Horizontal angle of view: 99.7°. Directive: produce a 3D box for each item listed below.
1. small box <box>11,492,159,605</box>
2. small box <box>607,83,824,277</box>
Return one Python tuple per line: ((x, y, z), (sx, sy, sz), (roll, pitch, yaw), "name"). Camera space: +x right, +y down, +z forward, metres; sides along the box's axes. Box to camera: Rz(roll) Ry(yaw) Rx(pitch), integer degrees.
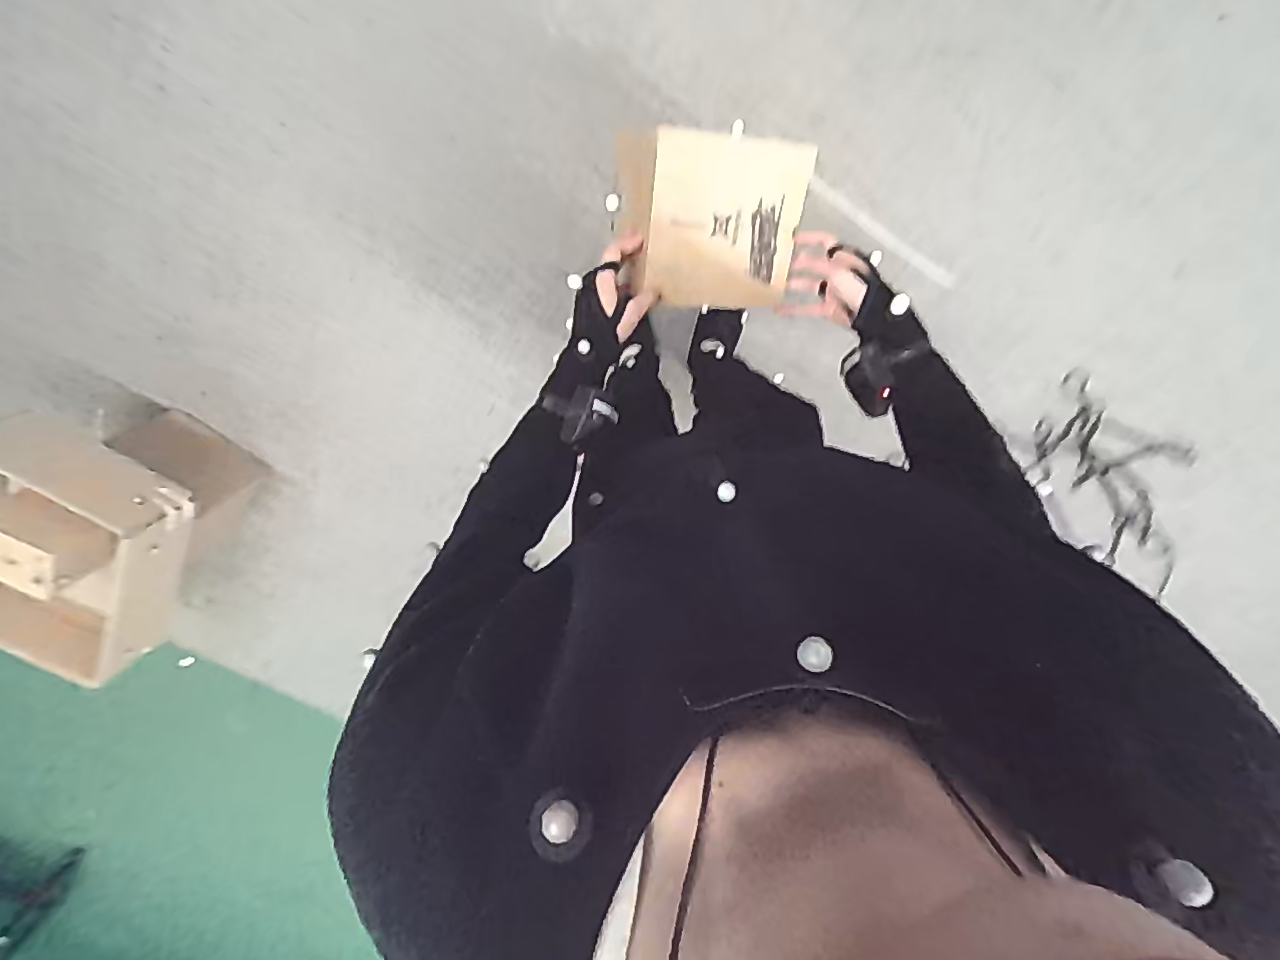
((-1.298, 0.153, 1.274), (0.179, 0.176, 0.168), (29, 122, -11), "small box")
((0.068, -0.330, 0.599), (0.179, 0.176, 0.168), (-6, 124, -14), "small box")
